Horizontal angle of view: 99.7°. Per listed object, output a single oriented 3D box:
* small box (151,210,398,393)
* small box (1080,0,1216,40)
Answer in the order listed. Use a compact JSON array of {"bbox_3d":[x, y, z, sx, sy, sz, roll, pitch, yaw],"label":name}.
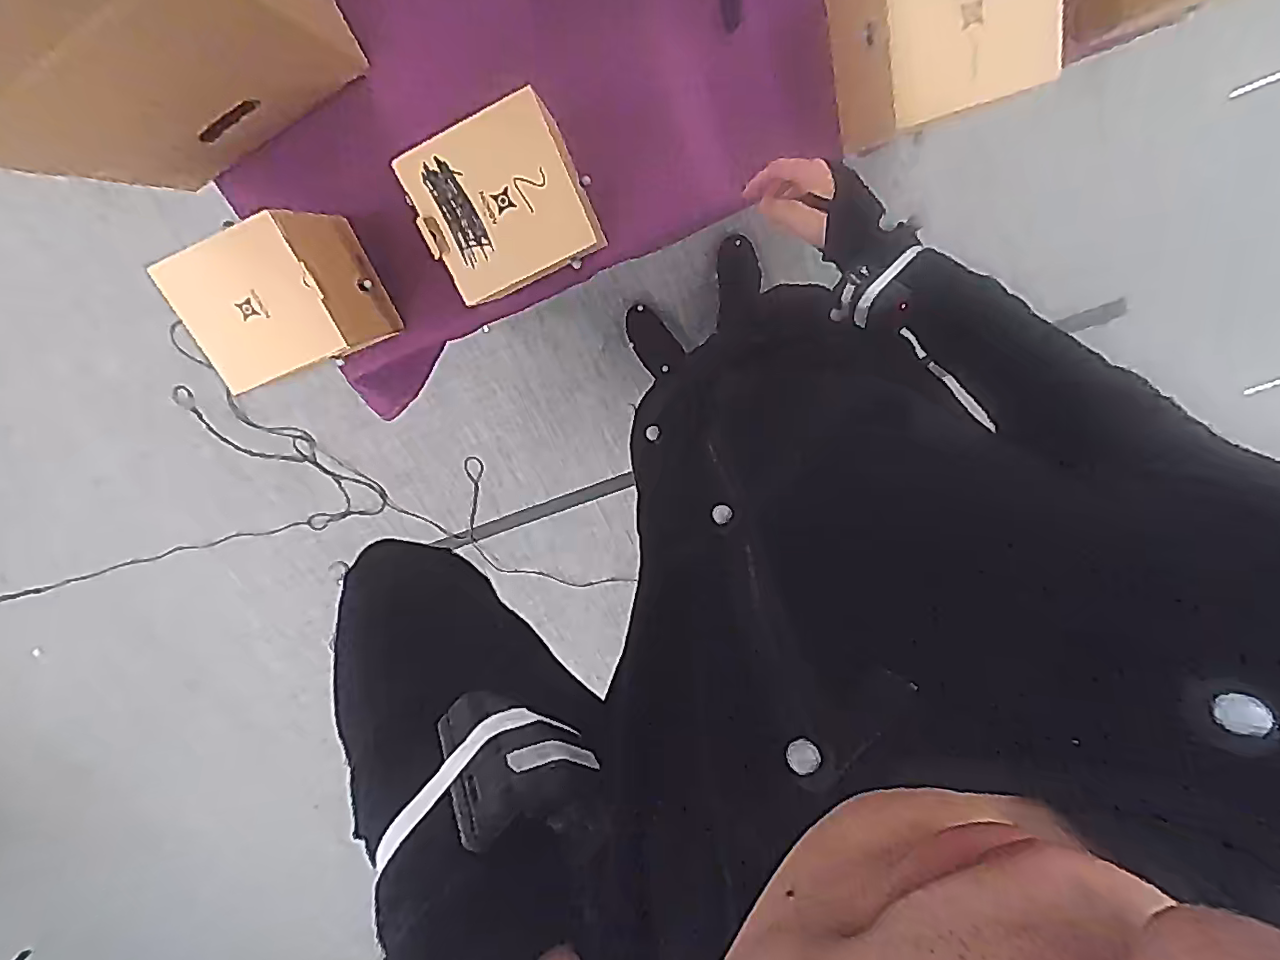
[{"bbox_3d":[-0.464,-0.236,0.720,0.179,0.176,0.168,-20,111,8],"label":"small box"},{"bbox_3d":[0.587,-0.598,0.544,0.168,0.176,0.179,-14,112,8],"label":"small box"}]
